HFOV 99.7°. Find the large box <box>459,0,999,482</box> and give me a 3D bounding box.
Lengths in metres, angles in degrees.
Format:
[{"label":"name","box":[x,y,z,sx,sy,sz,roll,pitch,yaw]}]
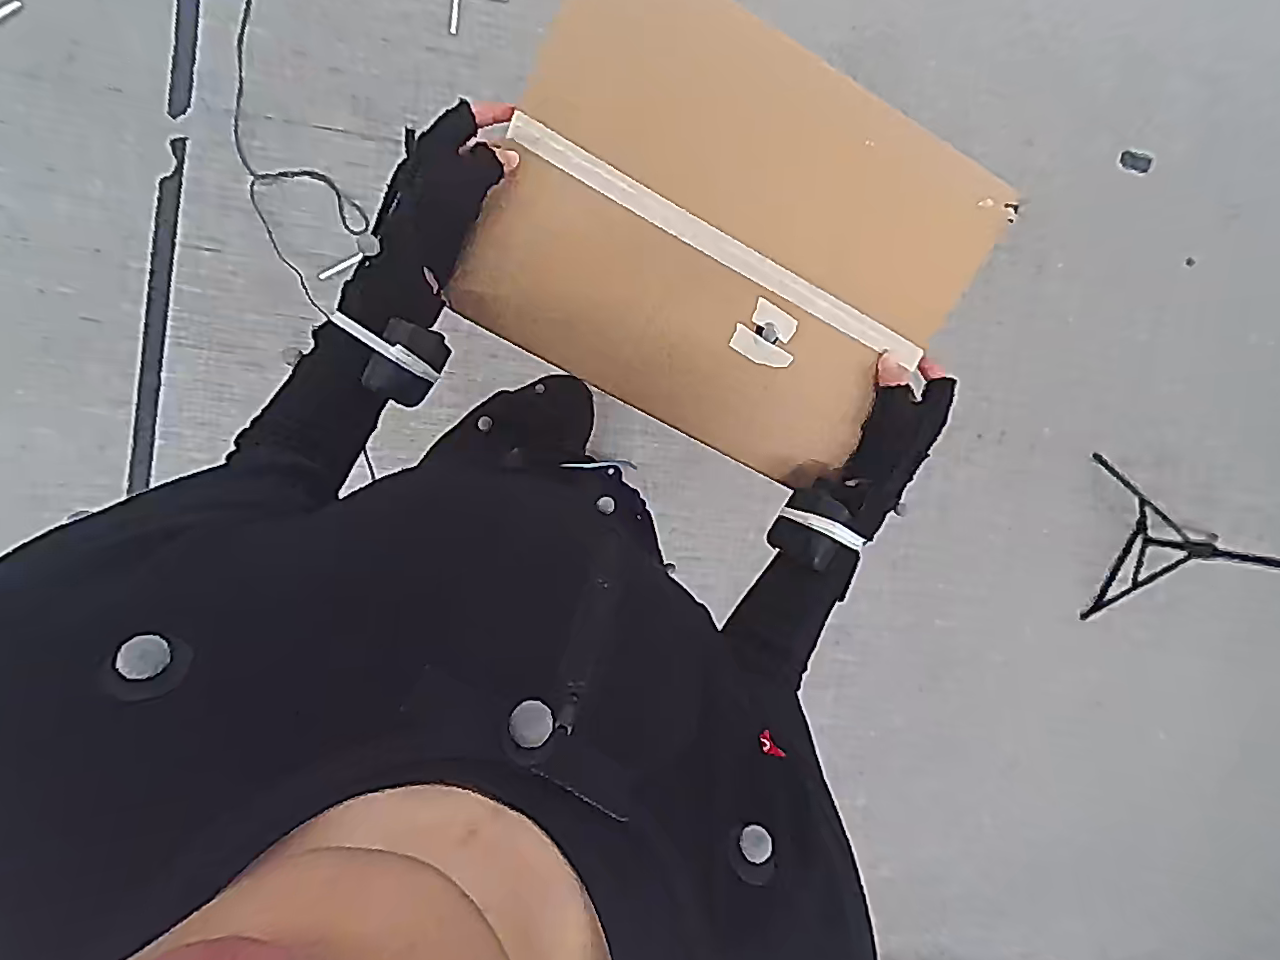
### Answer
[{"label":"large box","box":[0.070,-0.251,0.627,0.408,0.320,0.320,26,105,-10]}]
